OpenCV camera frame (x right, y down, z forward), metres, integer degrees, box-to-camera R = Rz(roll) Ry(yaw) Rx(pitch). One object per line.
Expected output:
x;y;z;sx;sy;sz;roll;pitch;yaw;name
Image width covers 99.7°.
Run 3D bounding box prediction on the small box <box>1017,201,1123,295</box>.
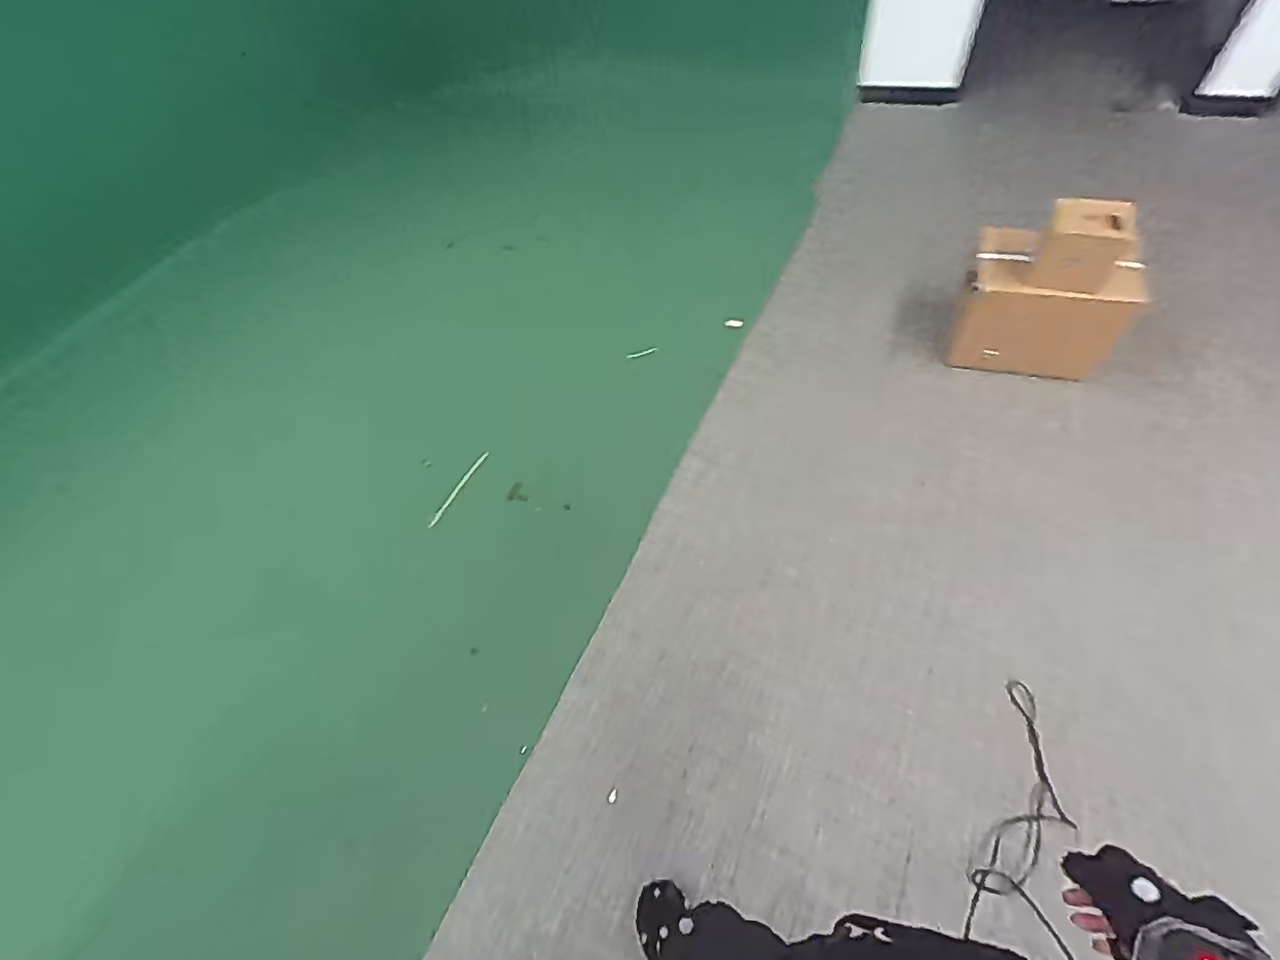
1.183;-0.638;1.494;0.179;0.176;0.168;16;61;20;small box
